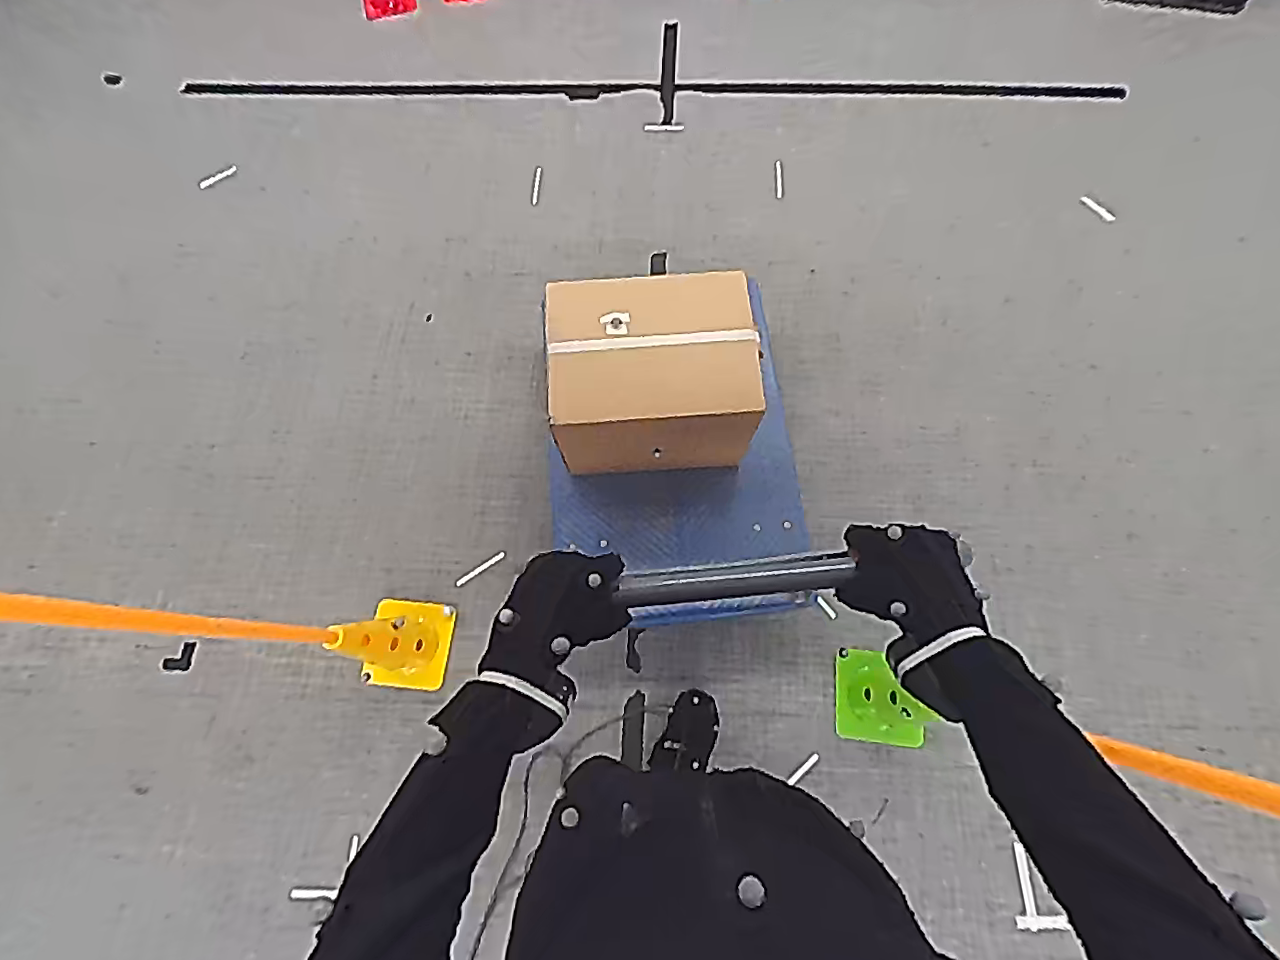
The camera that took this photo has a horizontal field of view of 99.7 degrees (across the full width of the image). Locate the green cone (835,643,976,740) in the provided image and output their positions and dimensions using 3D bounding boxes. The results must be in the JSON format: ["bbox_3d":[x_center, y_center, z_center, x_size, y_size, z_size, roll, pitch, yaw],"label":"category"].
[{"bbox_3d":[0.561,0.444,1.113,0.202,0.368,0.200,6,72,2],"label":"green cone"}]

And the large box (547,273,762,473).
[{"bbox_3d":[0.025,-0.215,1.190,0.408,0.320,0.320,-4,73,0],"label":"large box"}]
